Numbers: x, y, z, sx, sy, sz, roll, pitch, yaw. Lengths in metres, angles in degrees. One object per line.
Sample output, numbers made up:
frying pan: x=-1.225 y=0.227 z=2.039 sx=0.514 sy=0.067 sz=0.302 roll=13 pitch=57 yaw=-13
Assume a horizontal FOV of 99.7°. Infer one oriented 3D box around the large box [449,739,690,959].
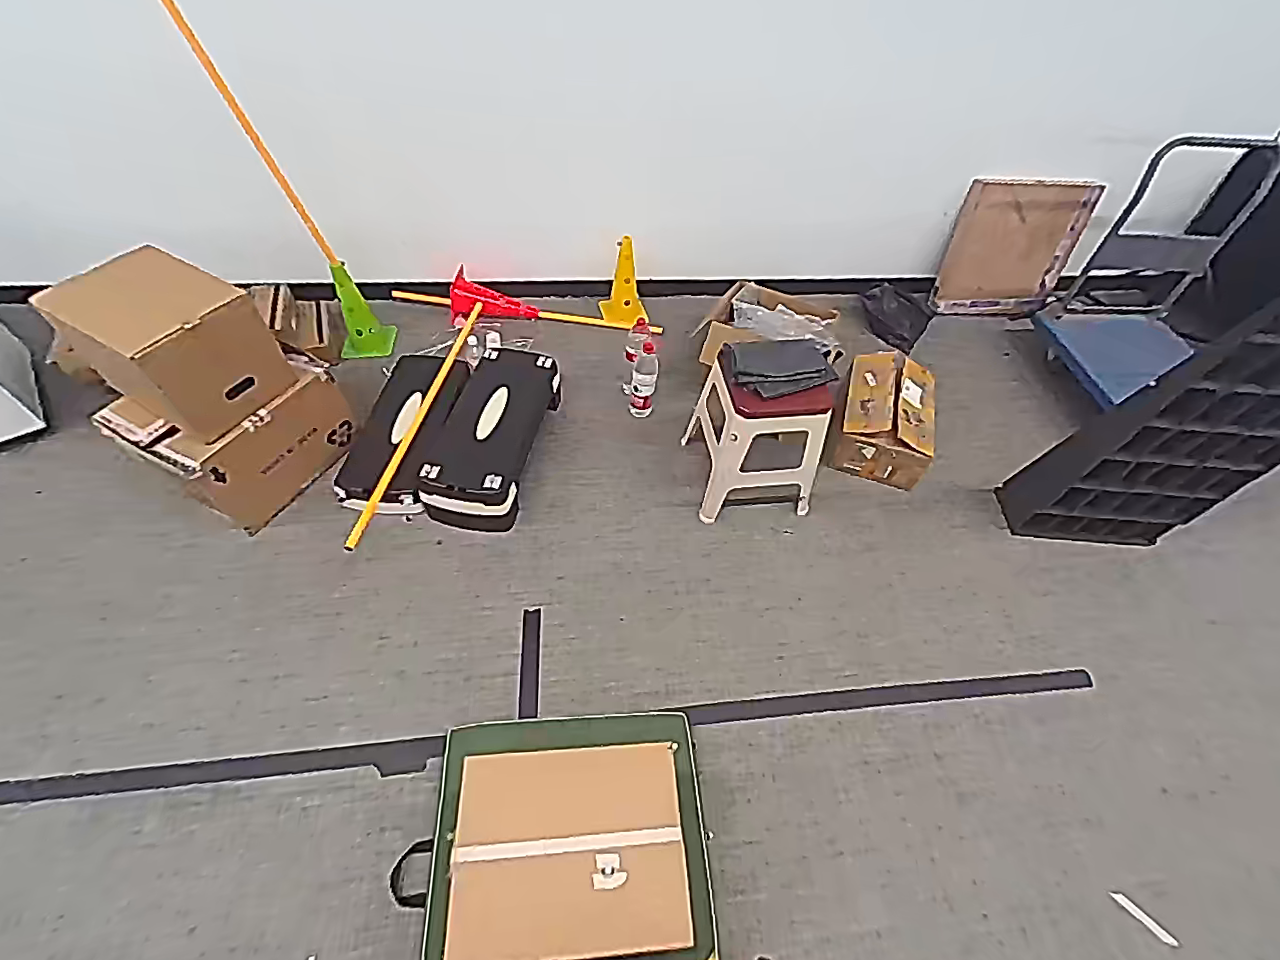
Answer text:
large box: x=-0.138 y=0.742 z=1.093 sx=0.408 sy=0.320 sz=0.320 roll=-1 pitch=52 yaw=-7
